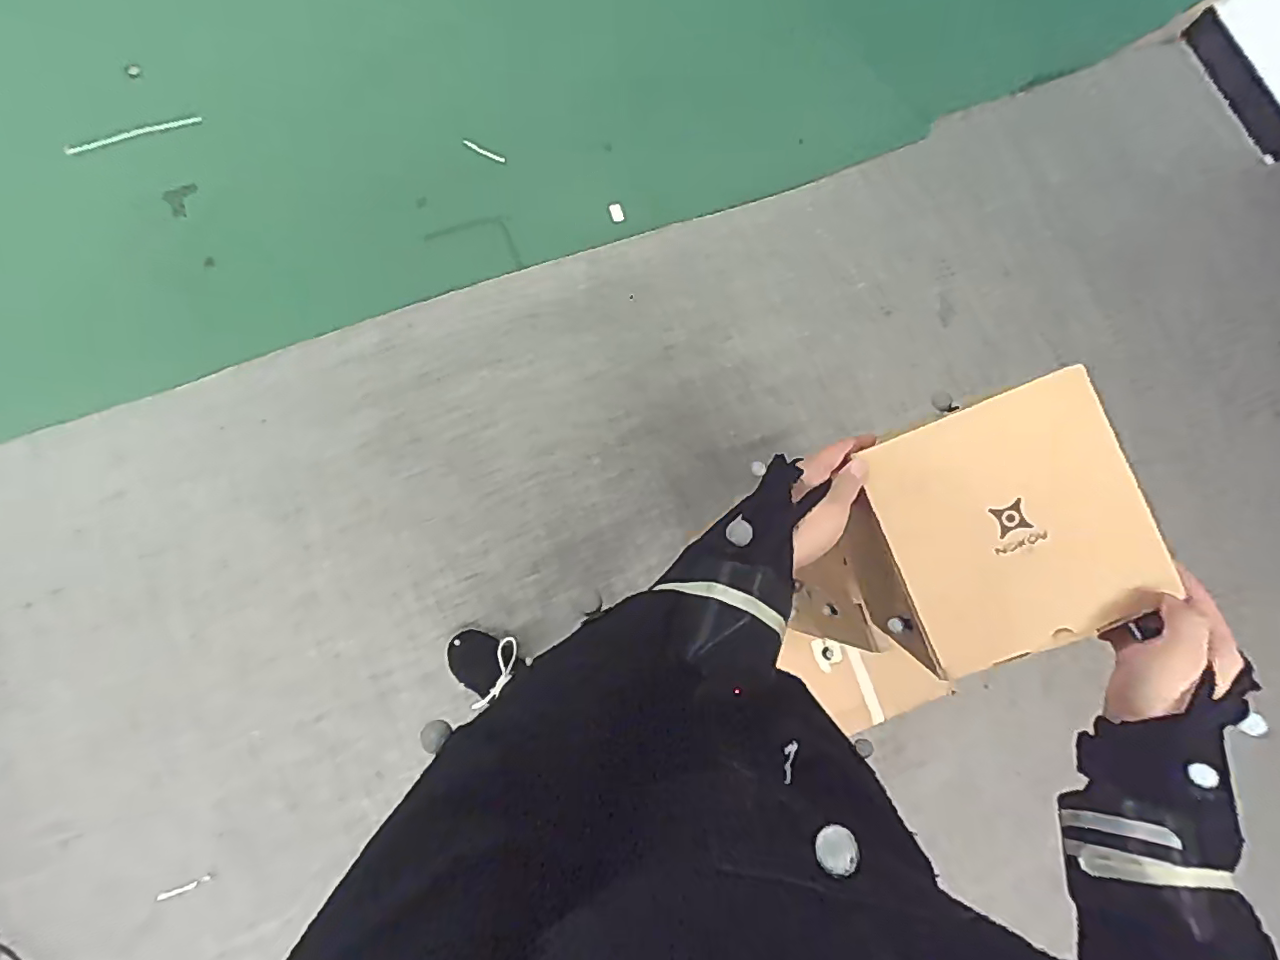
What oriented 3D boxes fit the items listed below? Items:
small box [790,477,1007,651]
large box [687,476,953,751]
[{"bbox_3d":[0.312,0.106,0.699,0.179,0.176,0.168,-15,84,-8],"label":"small box"},{"bbox_3d":[0.325,0.245,1.090,0.320,0.320,0.408,-18,83,-7],"label":"large box"}]
